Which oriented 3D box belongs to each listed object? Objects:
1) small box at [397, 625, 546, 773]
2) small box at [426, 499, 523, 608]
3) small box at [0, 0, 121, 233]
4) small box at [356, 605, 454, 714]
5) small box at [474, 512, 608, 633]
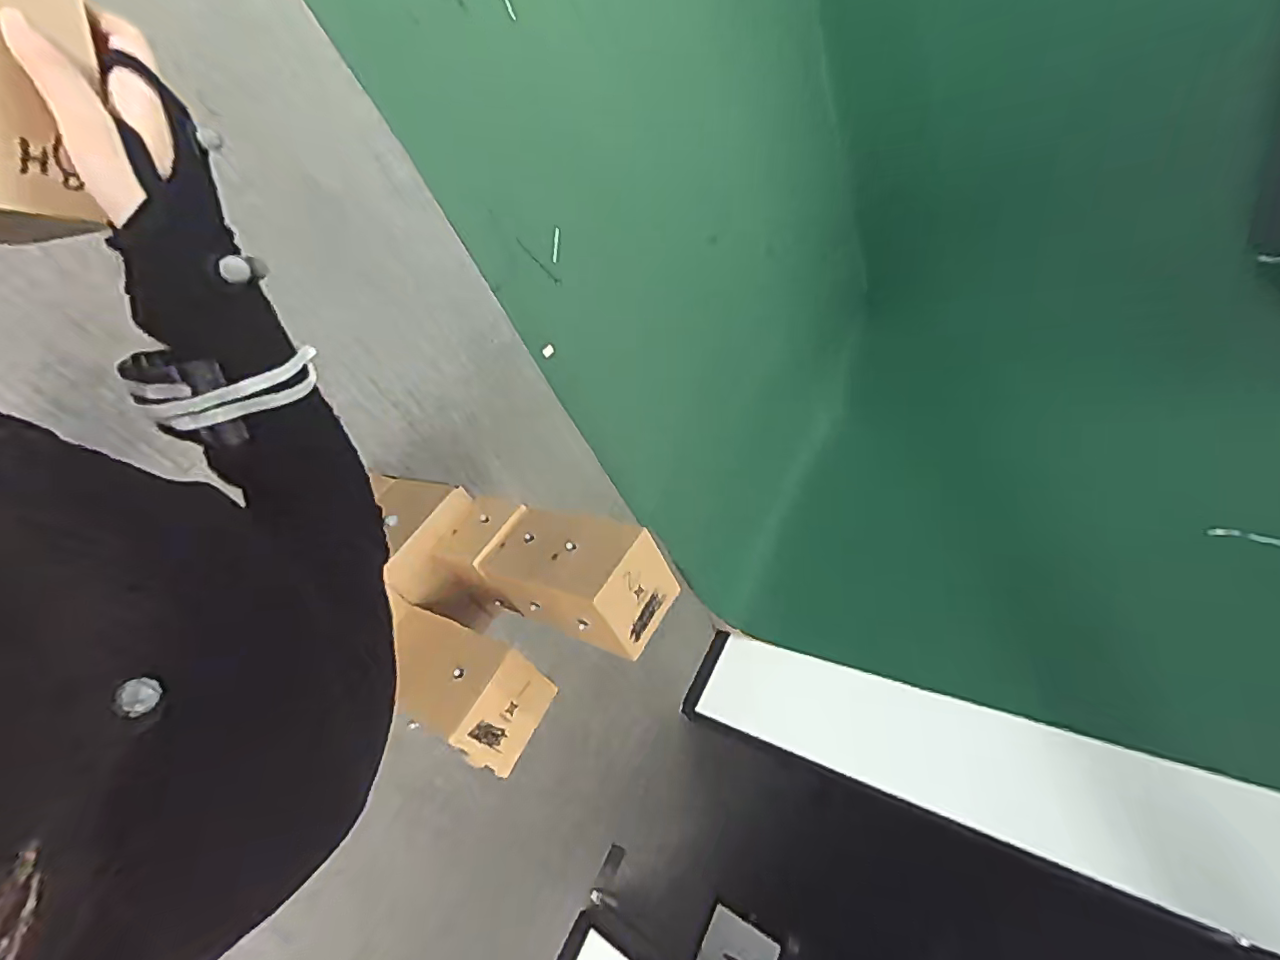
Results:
[{"bbox_3d":[-0.316,0.398,1.003,0.179,0.176,0.168,-57,135,-32],"label":"small box"},{"bbox_3d":[-0.337,0.156,1.204,0.168,0.176,0.179,-54,133,-30],"label":"small box"},{"bbox_3d":[-0.401,-0.222,0.249,0.168,0.176,0.179,-28,123,-57],"label":"small box"},{"bbox_3d":[-0.444,0.383,1.105,0.179,0.176,0.168,-58,135,-31],"label":"small box"},{"bbox_3d":[-0.204,0.181,1.109,0.168,0.176,0.179,-52,132,-31],"label":"small box"}]
